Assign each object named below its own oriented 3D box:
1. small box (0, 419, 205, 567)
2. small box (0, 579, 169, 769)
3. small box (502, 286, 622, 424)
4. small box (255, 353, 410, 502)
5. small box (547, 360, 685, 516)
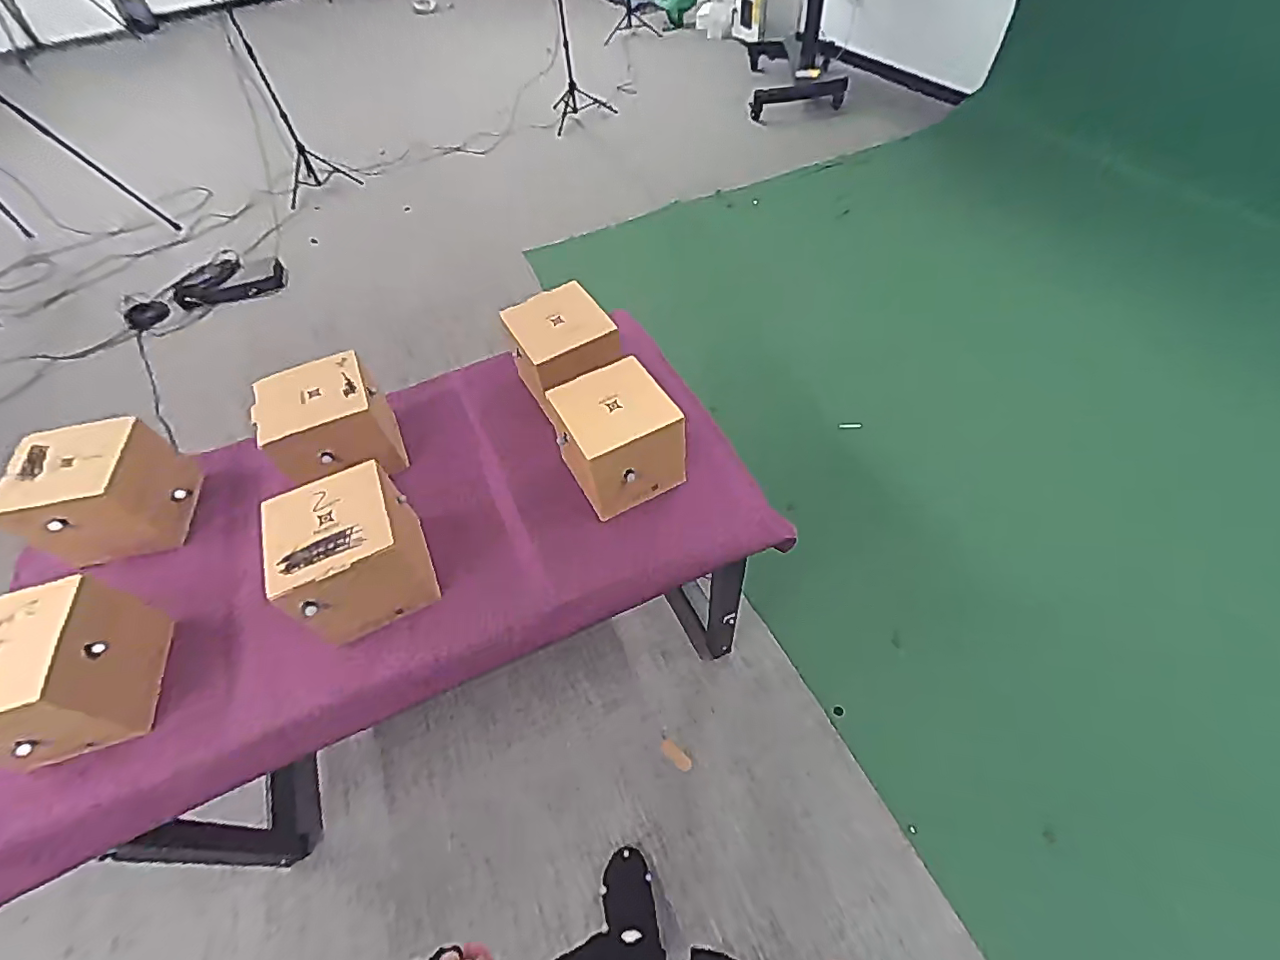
[{"bbox_3d":[-0.889,0.026,0.902,0.179,0.176,0.168,-12,54,-6],"label":"small box"},{"bbox_3d":[-0.781,0.263,0.716,0.168,0.176,0.179,-16,53,-8],"label":"small box"},{"bbox_3d":[-0.143,-0.236,1.045,0.168,0.176,0.179,-27,57,-14],"label":"small box"},{"bbox_3d":[-0.542,-0.088,0.964,0.179,0.176,0.168,-23,57,-12],"label":"small box"},{"bbox_3d":[-0.033,-0.062,0.905,0.168,0.176,0.179,-25,53,-14],"label":"small box"}]
